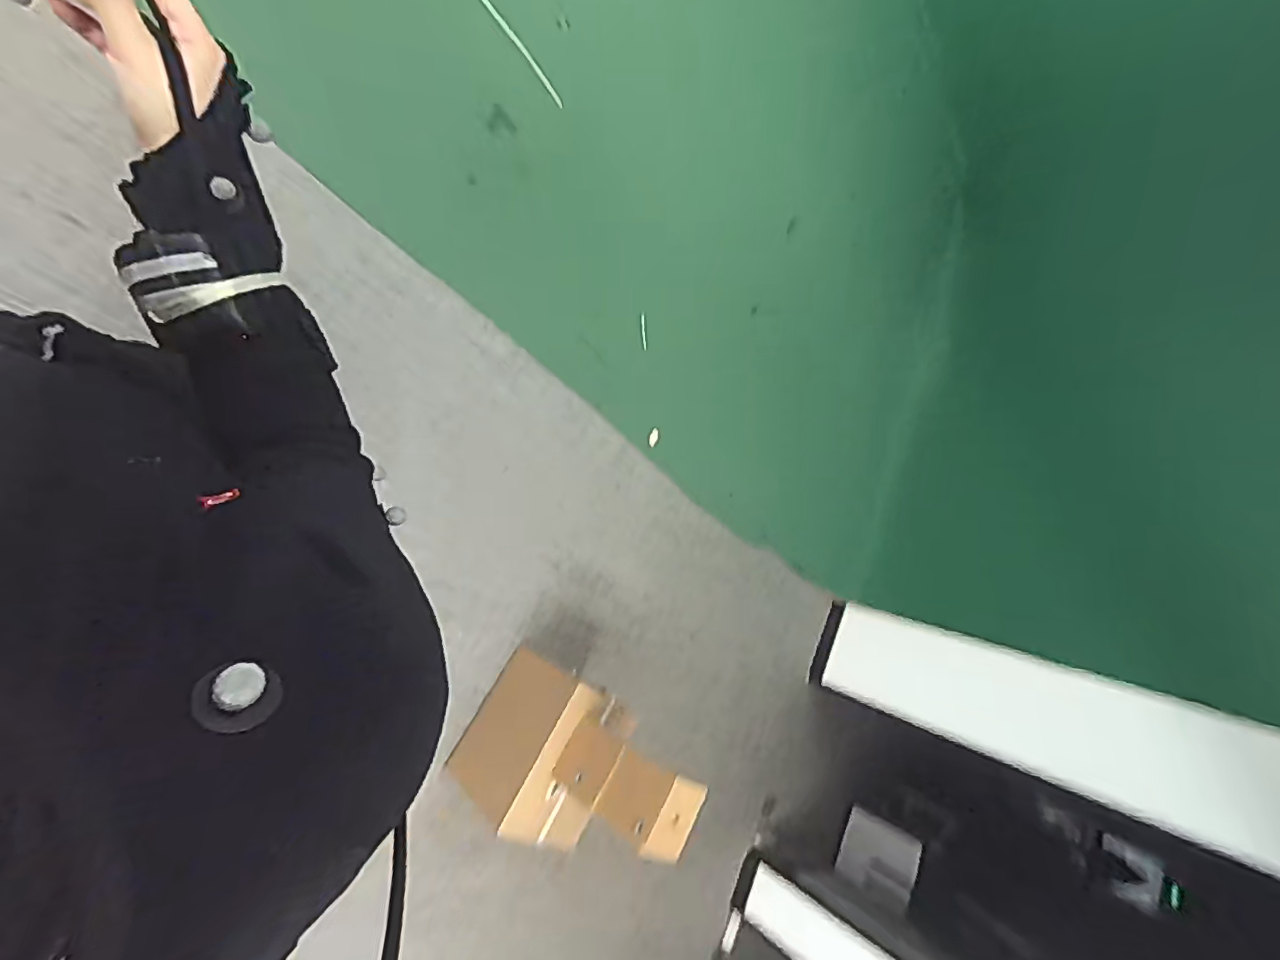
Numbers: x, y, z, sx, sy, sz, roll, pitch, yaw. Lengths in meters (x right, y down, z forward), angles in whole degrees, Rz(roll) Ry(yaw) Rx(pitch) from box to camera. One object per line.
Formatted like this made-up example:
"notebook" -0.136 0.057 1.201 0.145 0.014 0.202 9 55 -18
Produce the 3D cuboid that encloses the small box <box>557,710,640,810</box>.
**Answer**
"small box" -0.096 0.750 1.438 0.168 0.176 0.179 47 64 -40

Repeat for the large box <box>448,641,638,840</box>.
"large box" -0.281 0.755 1.600 0.320 0.320 0.408 45 68 -39

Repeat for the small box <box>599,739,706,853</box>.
"small box" 0.029 0.774 1.335 0.168 0.176 0.179 47 66 -40
